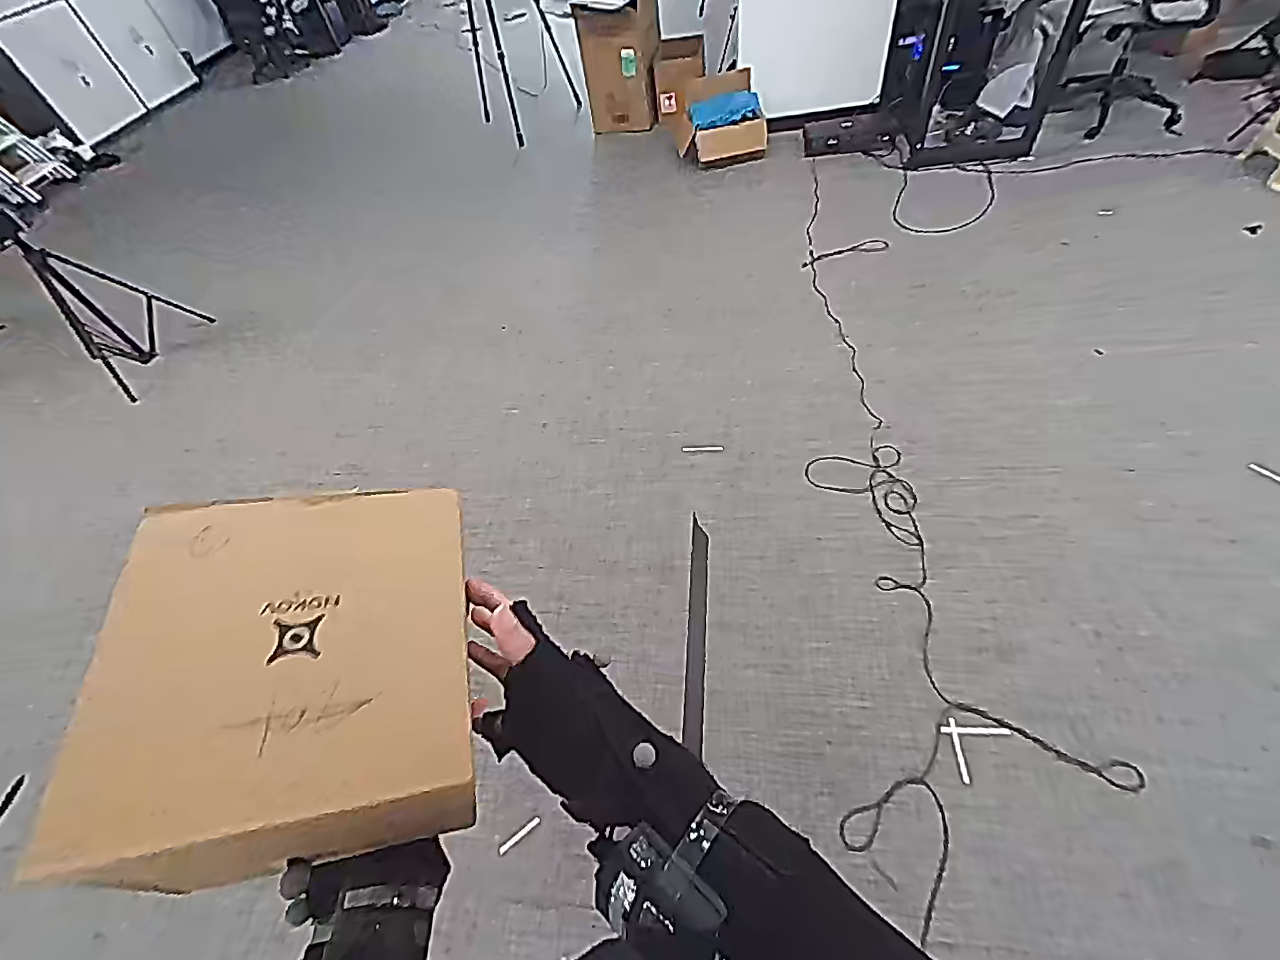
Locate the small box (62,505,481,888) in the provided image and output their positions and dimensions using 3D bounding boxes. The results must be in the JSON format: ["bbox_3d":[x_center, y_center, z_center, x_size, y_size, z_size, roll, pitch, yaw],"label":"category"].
[{"bbox_3d":[-0.194,0.138,0.352,0.168,0.176,0.179,-4,54,-17],"label":"small box"}]
